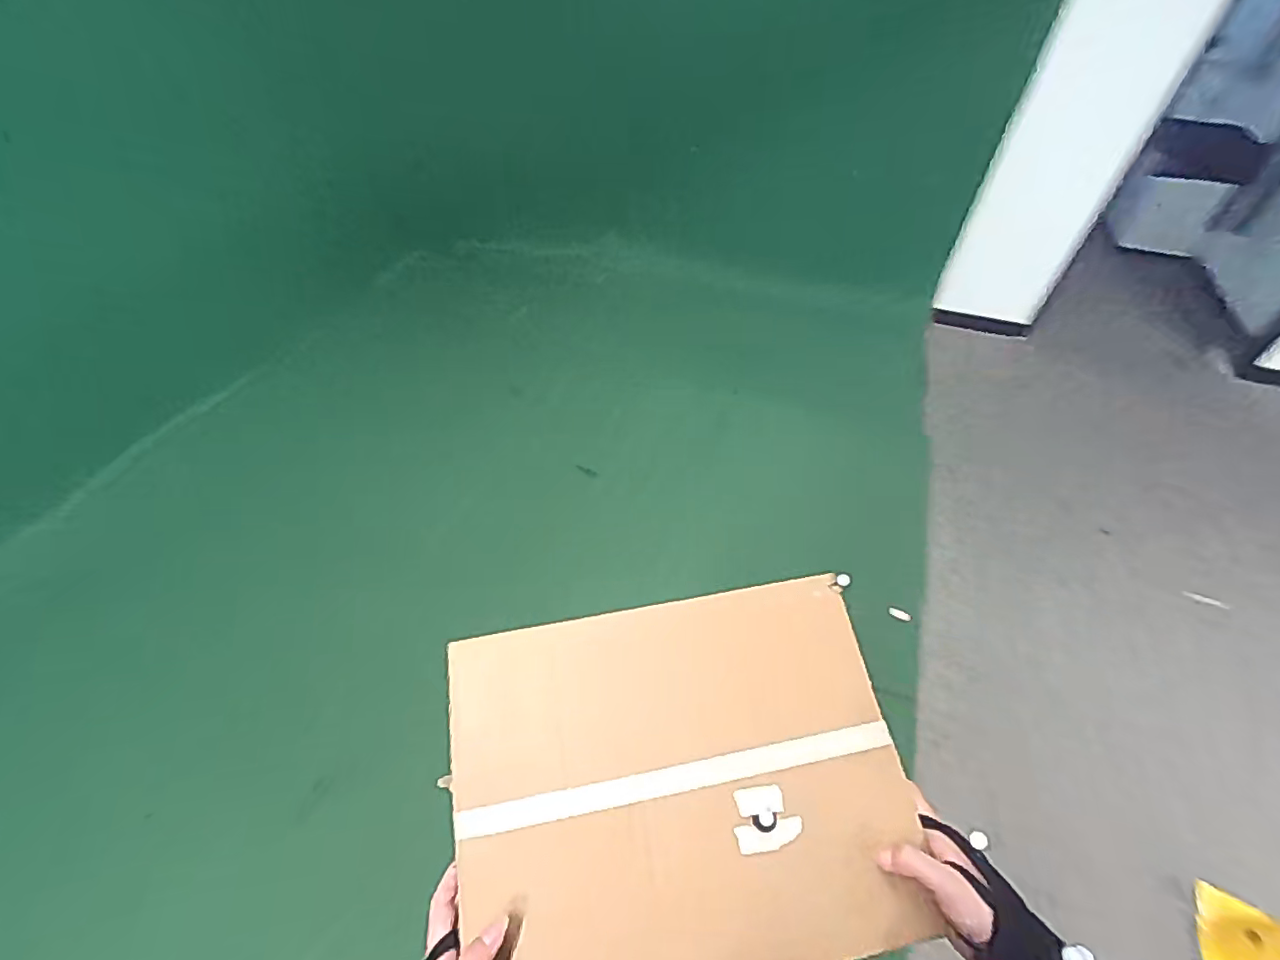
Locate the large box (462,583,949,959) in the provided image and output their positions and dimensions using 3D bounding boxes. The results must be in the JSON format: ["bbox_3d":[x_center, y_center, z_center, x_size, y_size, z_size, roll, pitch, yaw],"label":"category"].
[{"bbox_3d":[0.039,0.342,0.635,0.408,0.320,0.320,-9,67,-6],"label":"large box"}]
